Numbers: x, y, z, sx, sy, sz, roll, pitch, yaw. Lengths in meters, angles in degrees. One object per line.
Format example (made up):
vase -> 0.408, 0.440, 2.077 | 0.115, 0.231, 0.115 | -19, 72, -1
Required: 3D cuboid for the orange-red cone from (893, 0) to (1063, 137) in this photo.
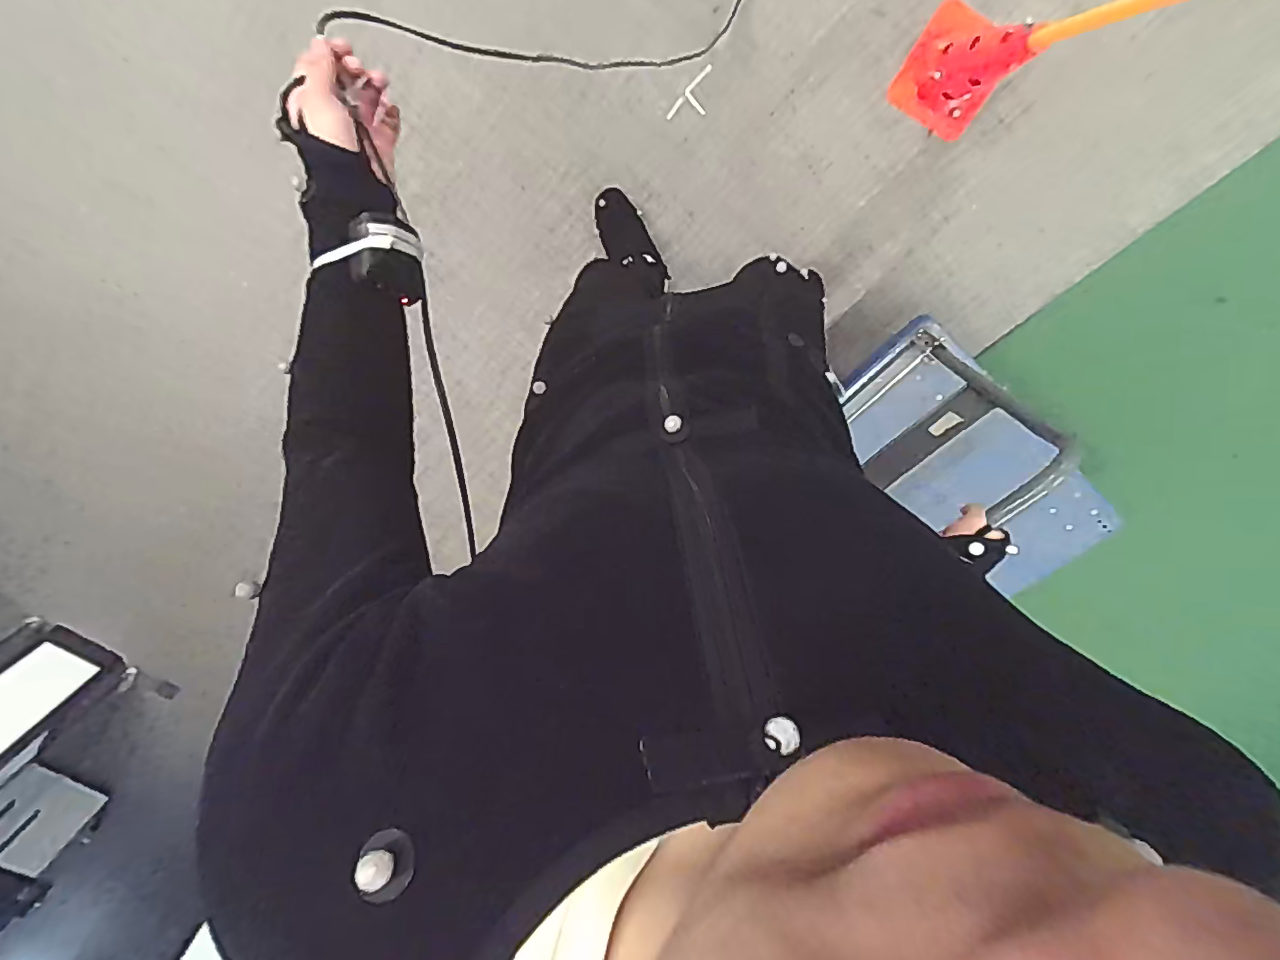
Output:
orange-red cone -> 0.666, -0.800, 1.013 | 0.198, 0.360, 0.199 | 27, 117, -11
